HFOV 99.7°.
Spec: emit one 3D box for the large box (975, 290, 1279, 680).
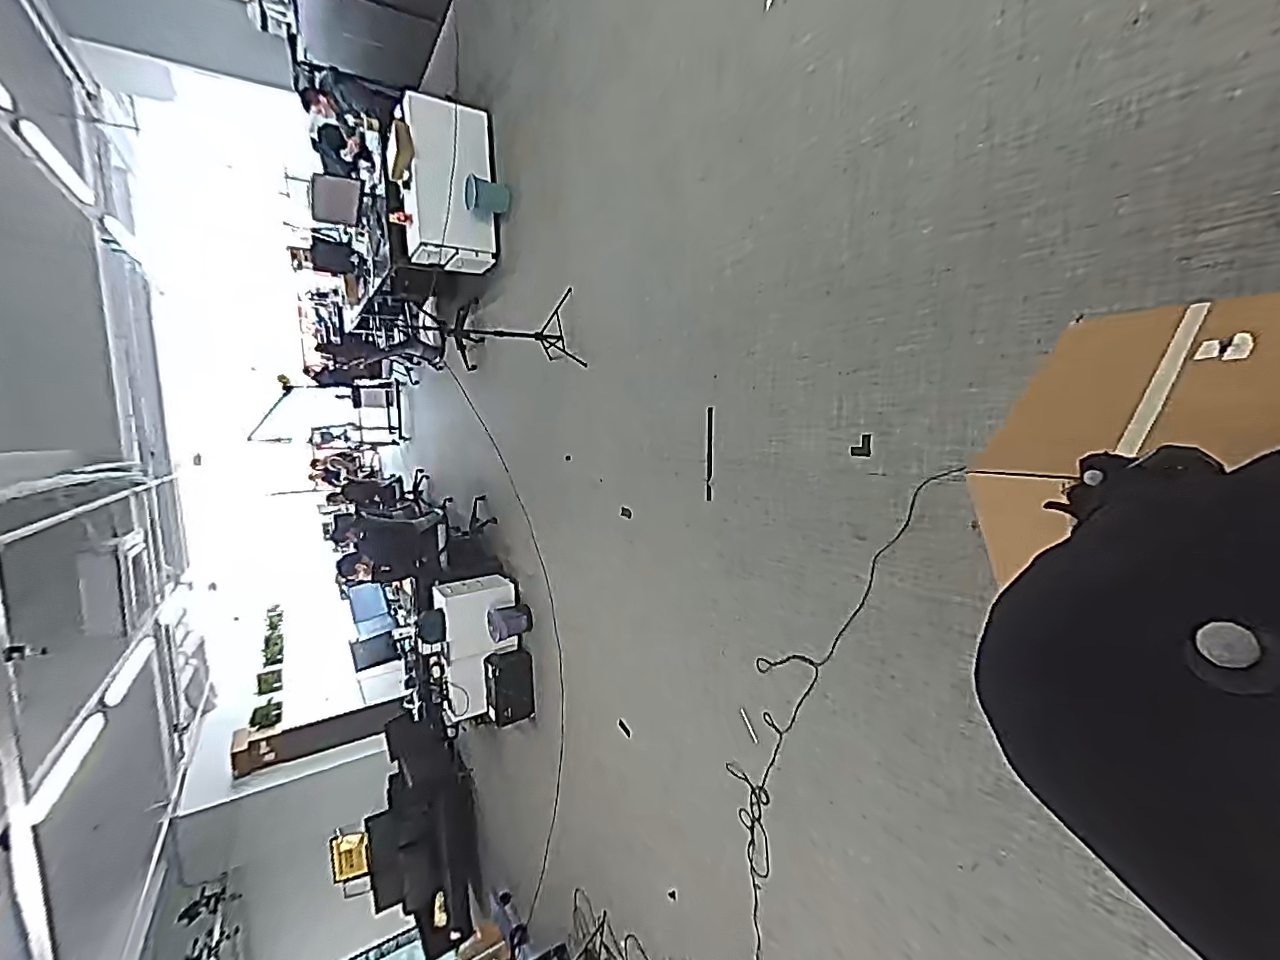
[{"bbox_3d":[0.734,-0.010,0.744,0.320,0.408,0.320,10,136,54],"label":"large box"}]
